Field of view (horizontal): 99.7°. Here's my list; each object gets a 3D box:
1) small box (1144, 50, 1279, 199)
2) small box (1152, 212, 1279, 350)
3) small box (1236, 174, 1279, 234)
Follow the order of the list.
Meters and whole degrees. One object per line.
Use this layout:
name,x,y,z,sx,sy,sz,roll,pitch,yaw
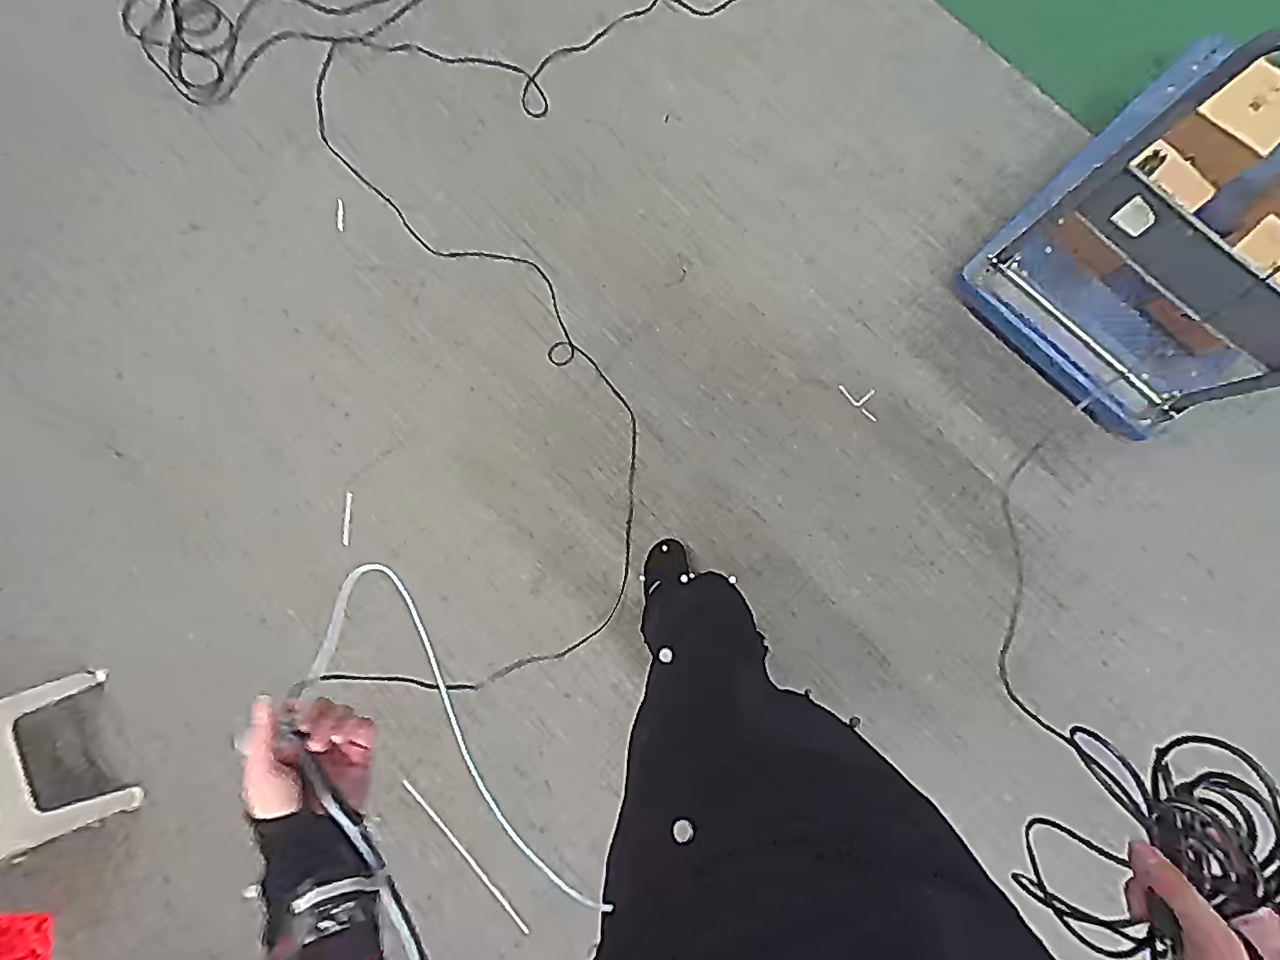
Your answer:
small box,1.271,-0.762,1.180,0.168,0.176,0.179,42,88,7
small box,1.262,-0.409,1.139,0.179,0.176,0.168,-43,82,-1
small box,1.457,-0.596,1.146,0.168,0.176,0.179,42,89,8
